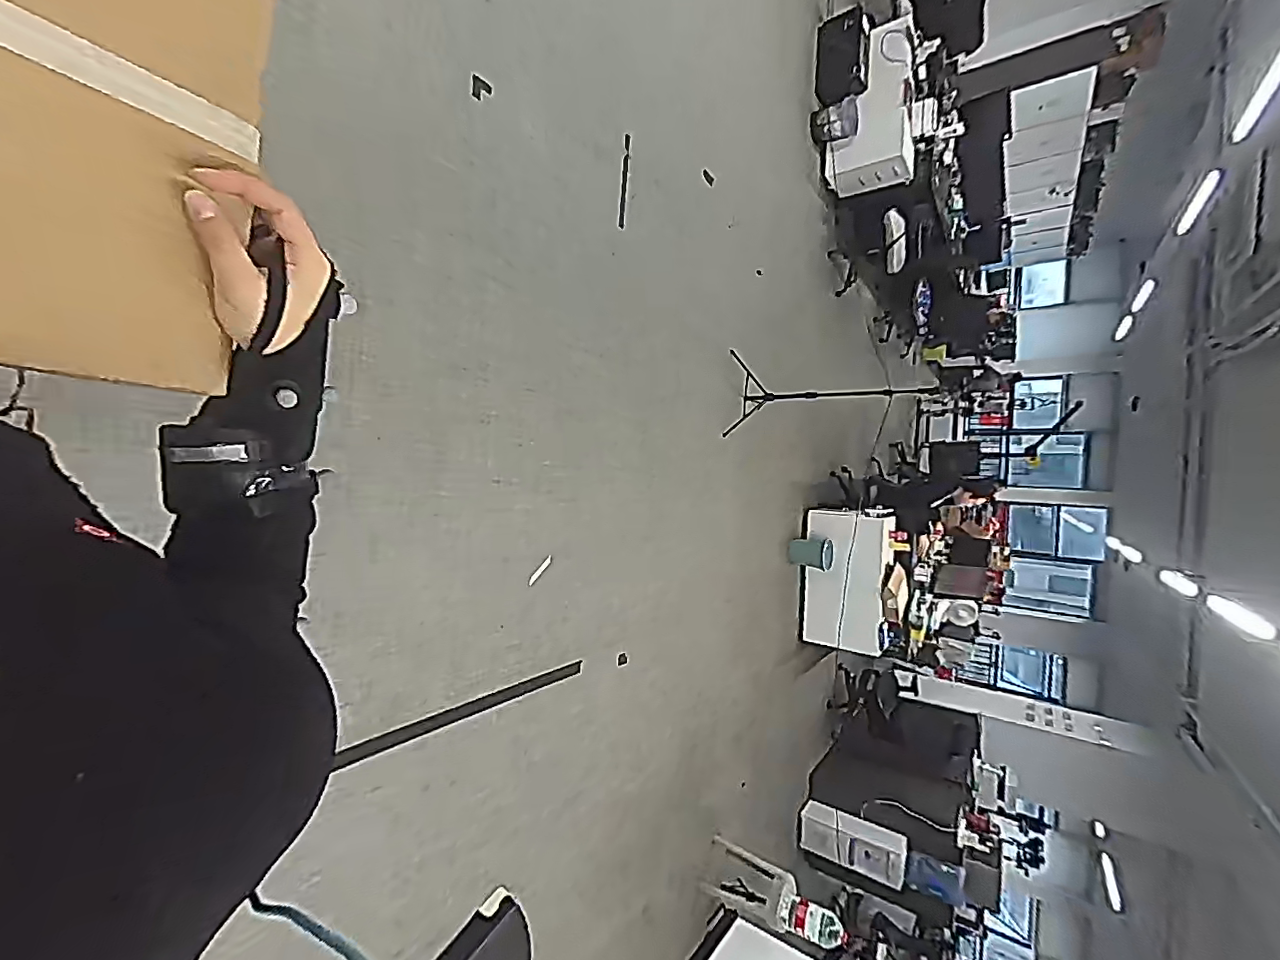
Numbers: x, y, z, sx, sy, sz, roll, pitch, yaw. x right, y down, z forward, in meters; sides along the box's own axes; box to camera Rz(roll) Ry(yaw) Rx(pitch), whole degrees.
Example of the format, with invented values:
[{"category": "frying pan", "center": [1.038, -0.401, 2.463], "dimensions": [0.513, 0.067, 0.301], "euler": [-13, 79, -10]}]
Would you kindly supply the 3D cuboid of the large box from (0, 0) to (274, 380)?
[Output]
[{"category": "large box", "center": [-0.481, -0.244, 0.271], "dimensions": [0.408, 0.320, 0.320], "euler": [5, 96, -55]}]
